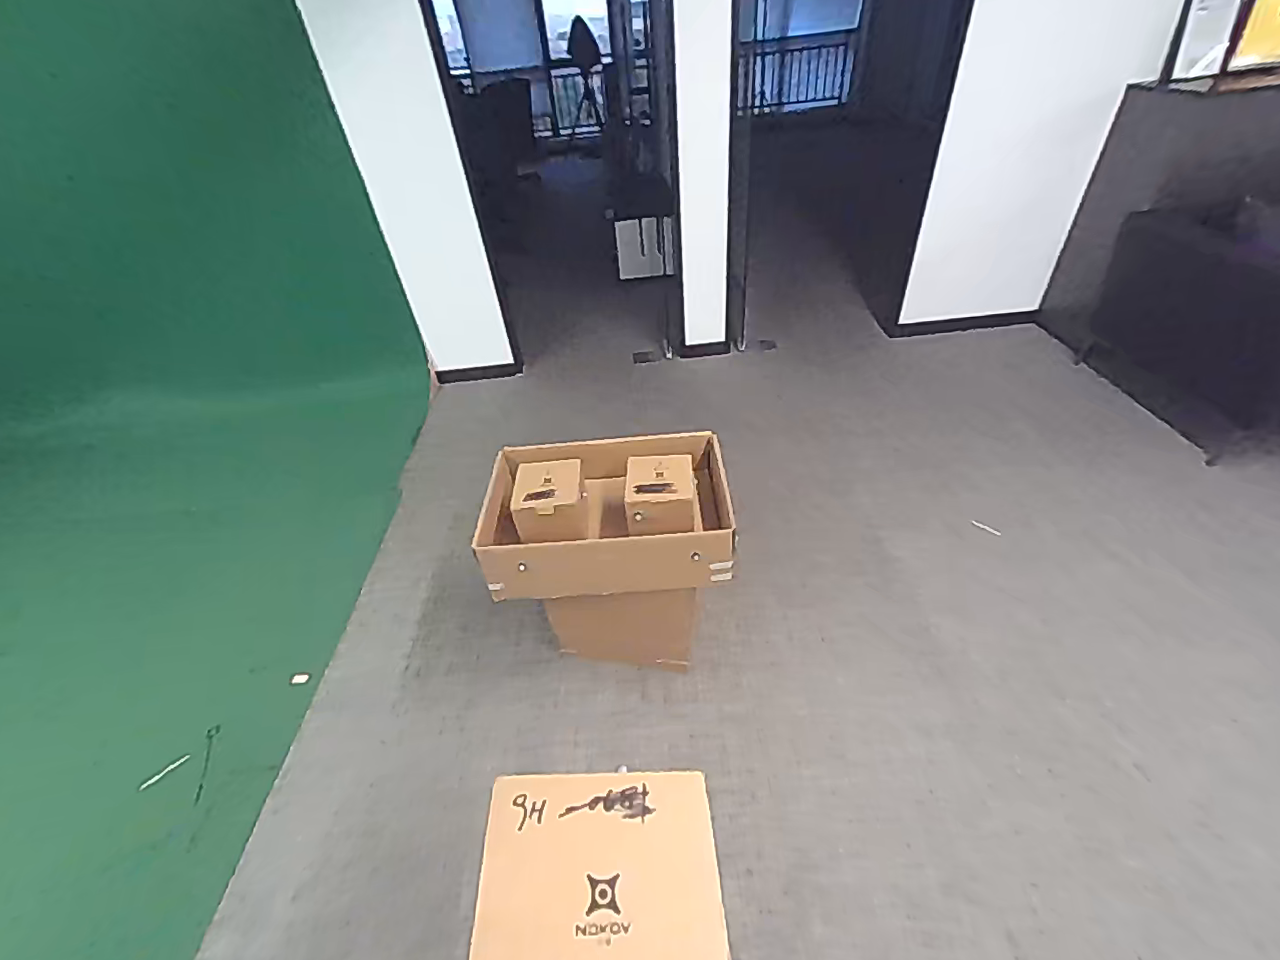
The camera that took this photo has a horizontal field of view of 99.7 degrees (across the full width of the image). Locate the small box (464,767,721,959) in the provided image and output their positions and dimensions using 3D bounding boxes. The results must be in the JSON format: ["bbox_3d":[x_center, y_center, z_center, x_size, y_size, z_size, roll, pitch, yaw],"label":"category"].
[{"bbox_3d":[-0.035,0.345,0.415,0.168,0.176,0.179,2,40,-5],"label":"small box"}]

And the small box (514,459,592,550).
[{"bbox_3d":[-0.219,0.071,1.414,0.168,0.176,0.179,-6,40,2],"label":"small box"}]
